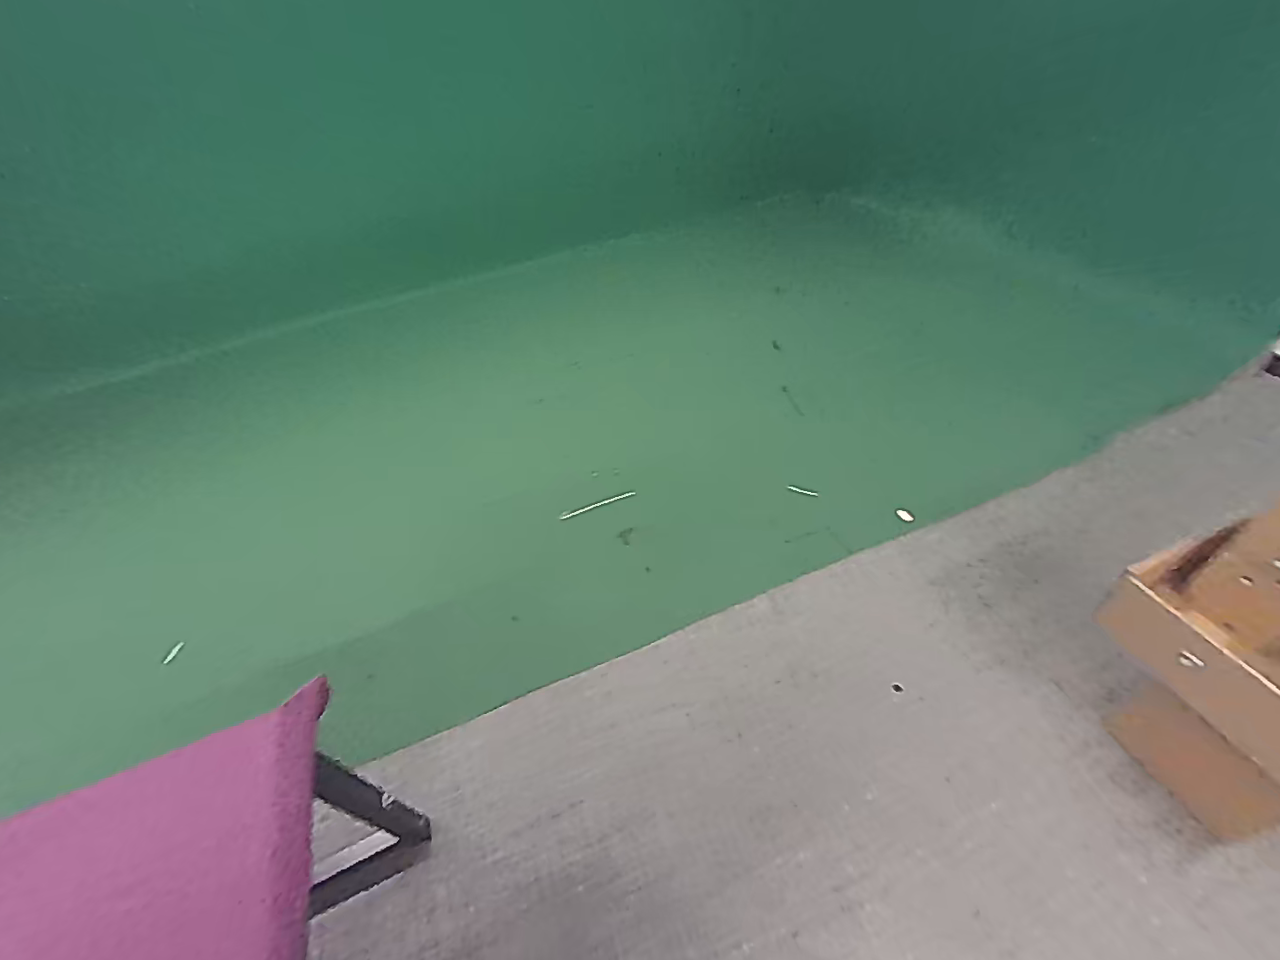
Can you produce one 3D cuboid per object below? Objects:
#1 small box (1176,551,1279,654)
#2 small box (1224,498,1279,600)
[{"bbox_3d":[1.329,0.240,1.157,0.179,0.176,0.168,-18,46,-10],"label":"small box"},{"bbox_3d":[1.312,0.126,1.040,0.179,0.176,0.168,-17,45,-8],"label":"small box"}]
